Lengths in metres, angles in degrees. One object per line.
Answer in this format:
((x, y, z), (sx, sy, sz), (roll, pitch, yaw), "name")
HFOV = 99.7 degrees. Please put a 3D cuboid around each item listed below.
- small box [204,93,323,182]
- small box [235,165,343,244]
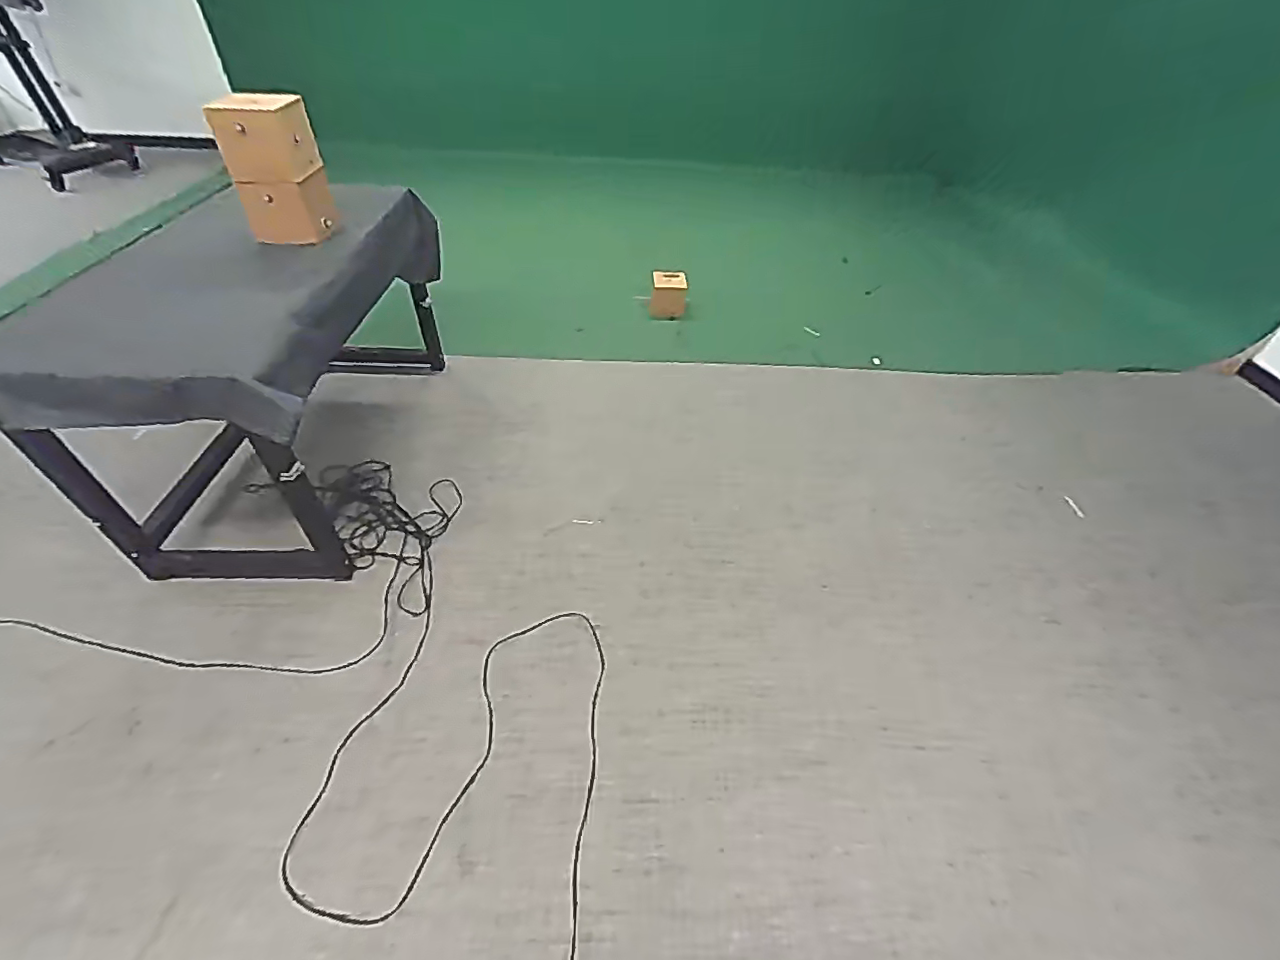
((-0.979, -0.903, 1.430), (0.179, 0.176, 0.168), (0, 46, -1), "small box")
((-0.993, -0.791, 1.548), (0.179, 0.176, 0.168), (2, 46, -2), "small box")
